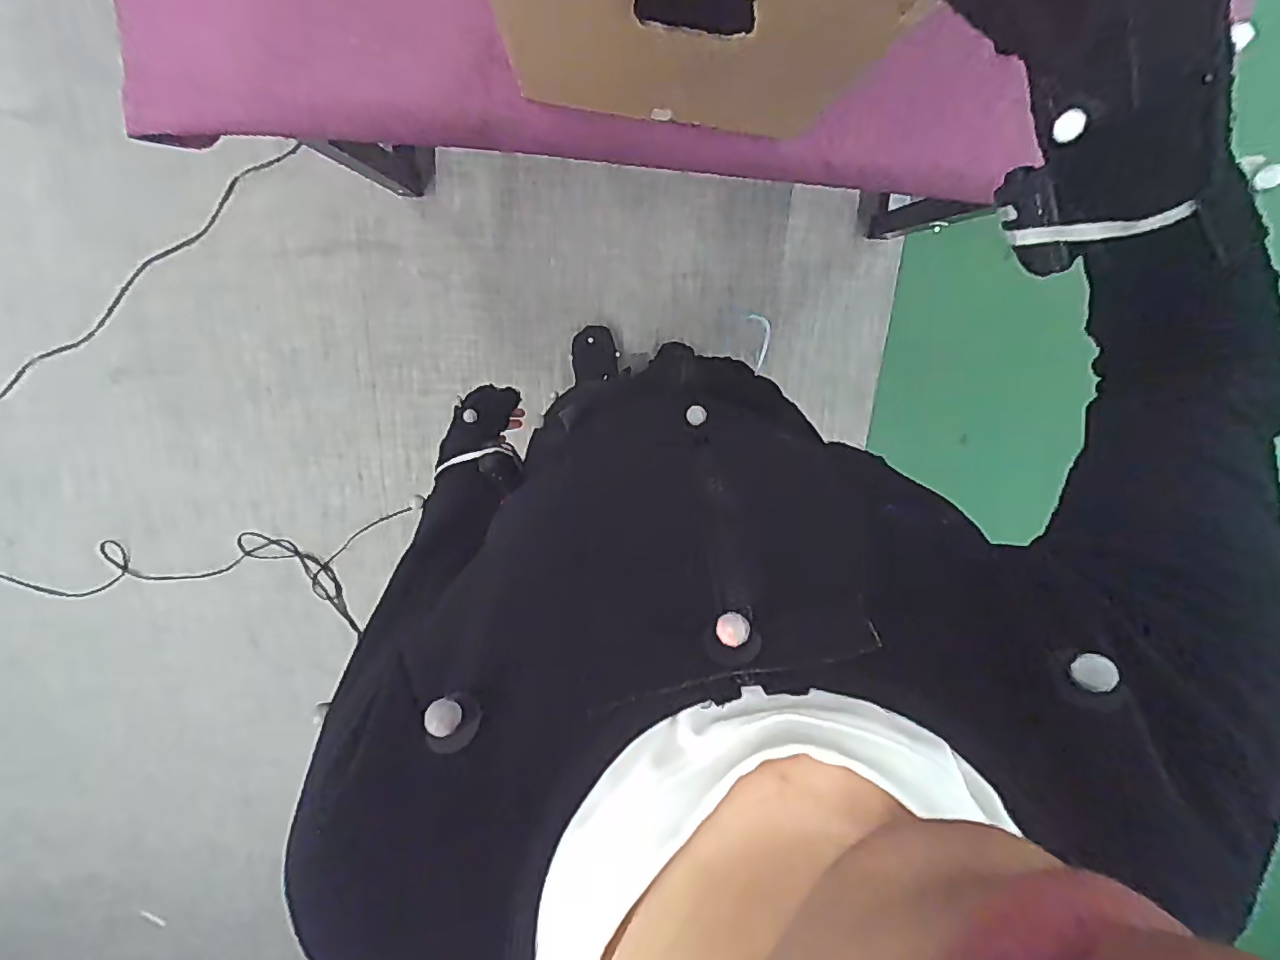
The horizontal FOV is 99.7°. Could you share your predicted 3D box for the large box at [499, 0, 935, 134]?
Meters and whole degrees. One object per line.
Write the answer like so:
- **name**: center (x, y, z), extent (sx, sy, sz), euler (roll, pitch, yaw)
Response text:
- **large box**: center (0.054, -0.563, 0.424), extent (0.320, 0.320, 0.408), euler (5, 107, -5)
